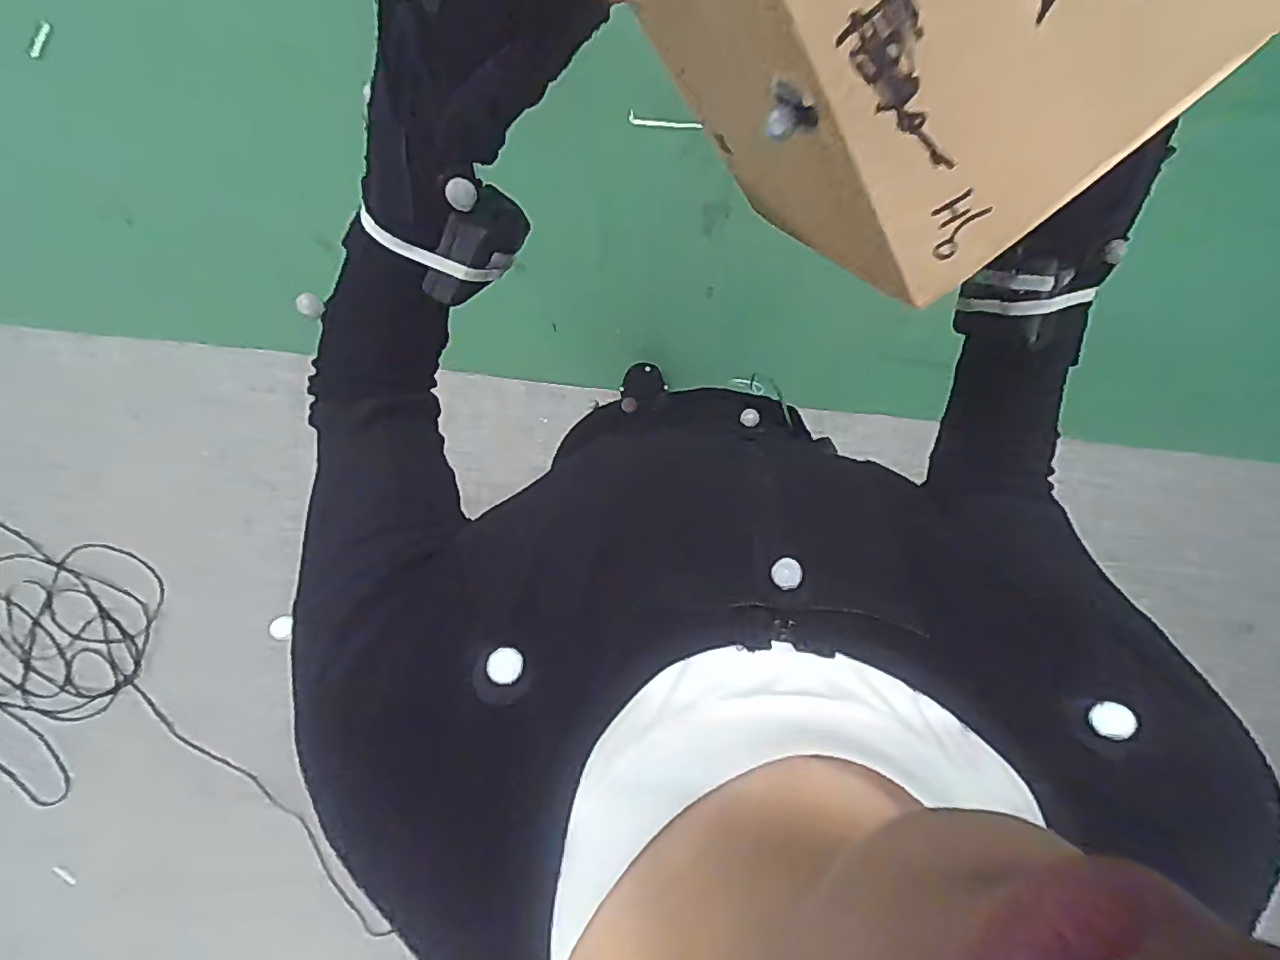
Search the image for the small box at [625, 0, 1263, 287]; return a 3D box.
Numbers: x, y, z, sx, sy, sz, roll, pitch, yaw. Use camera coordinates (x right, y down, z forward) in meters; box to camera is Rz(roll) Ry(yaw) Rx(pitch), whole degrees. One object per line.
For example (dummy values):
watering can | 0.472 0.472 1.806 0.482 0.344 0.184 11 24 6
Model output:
small box | 0.114 -0.227 0.235 0.179 0.176 0.168 -41 129 13
